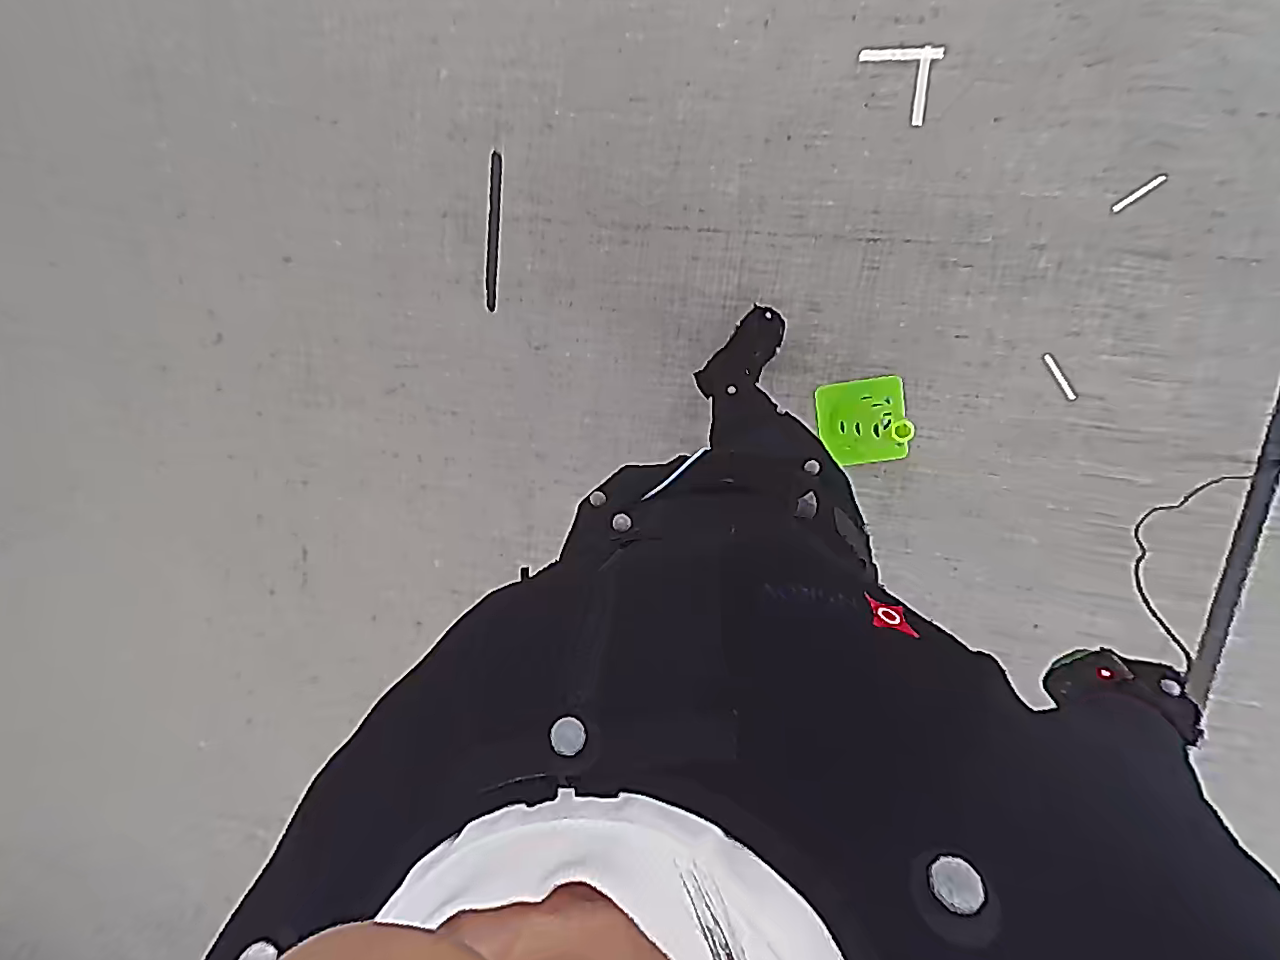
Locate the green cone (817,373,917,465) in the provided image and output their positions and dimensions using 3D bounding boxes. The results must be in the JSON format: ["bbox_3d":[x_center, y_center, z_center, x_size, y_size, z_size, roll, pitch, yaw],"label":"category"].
[{"bbox_3d":[0.505,-0.122,1.127,0.200,0.368,0.202,-8,96,11],"label":"green cone"}]
